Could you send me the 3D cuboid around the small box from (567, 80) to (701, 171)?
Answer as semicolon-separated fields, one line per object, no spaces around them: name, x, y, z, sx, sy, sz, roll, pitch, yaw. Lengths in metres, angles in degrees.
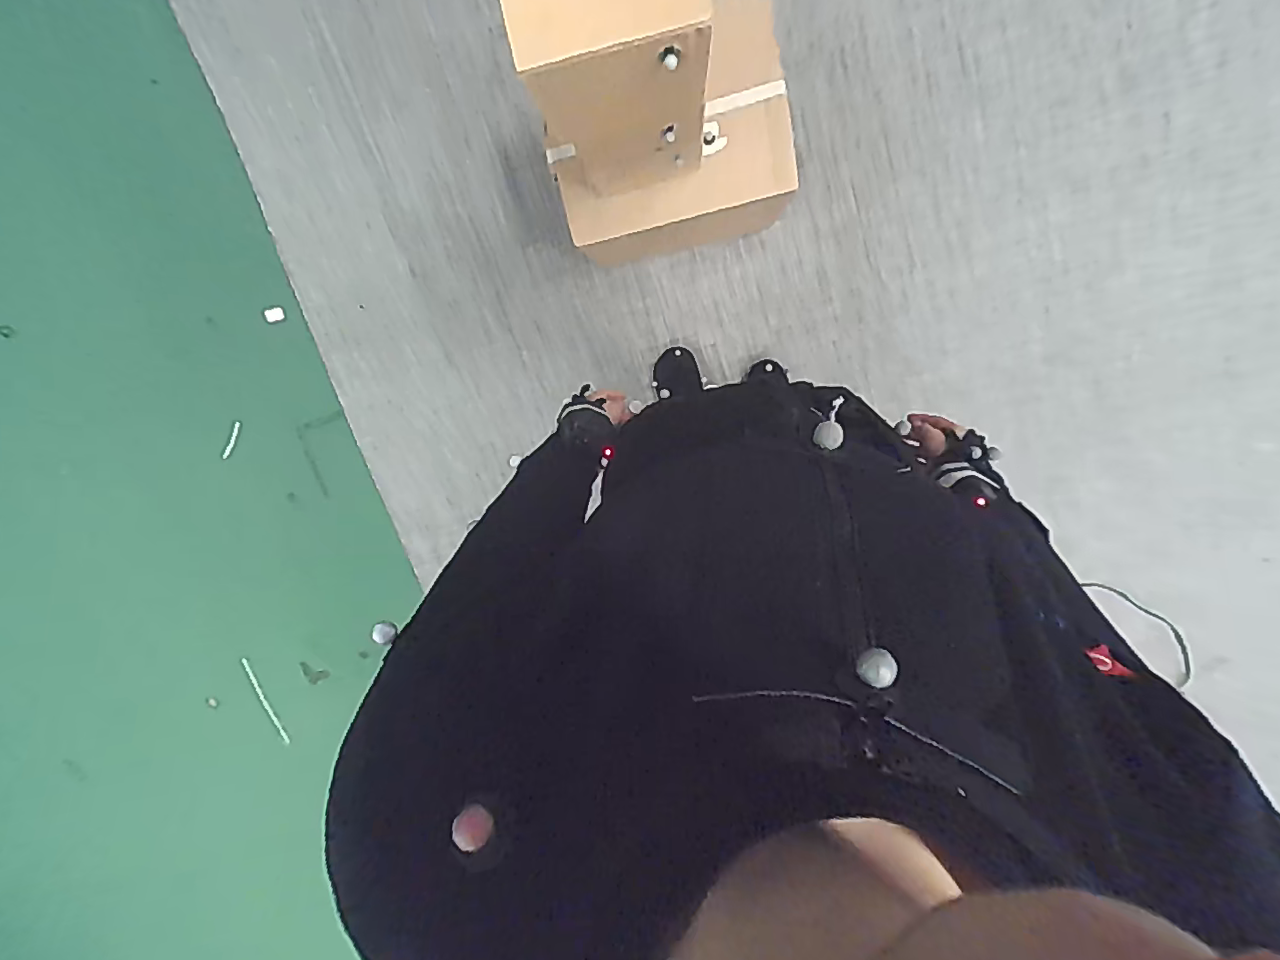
small box;-0.022;-0.511;0.673;0.168;0.176;0.179;-13;102;6

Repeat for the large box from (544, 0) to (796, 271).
large box;0.050;-0.633;1.057;0.408;0.320;0.320;-12;104;7

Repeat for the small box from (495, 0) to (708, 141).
small box;-0.037;-0.458;0.519;0.179;0.176;0.168;-11;103;5
